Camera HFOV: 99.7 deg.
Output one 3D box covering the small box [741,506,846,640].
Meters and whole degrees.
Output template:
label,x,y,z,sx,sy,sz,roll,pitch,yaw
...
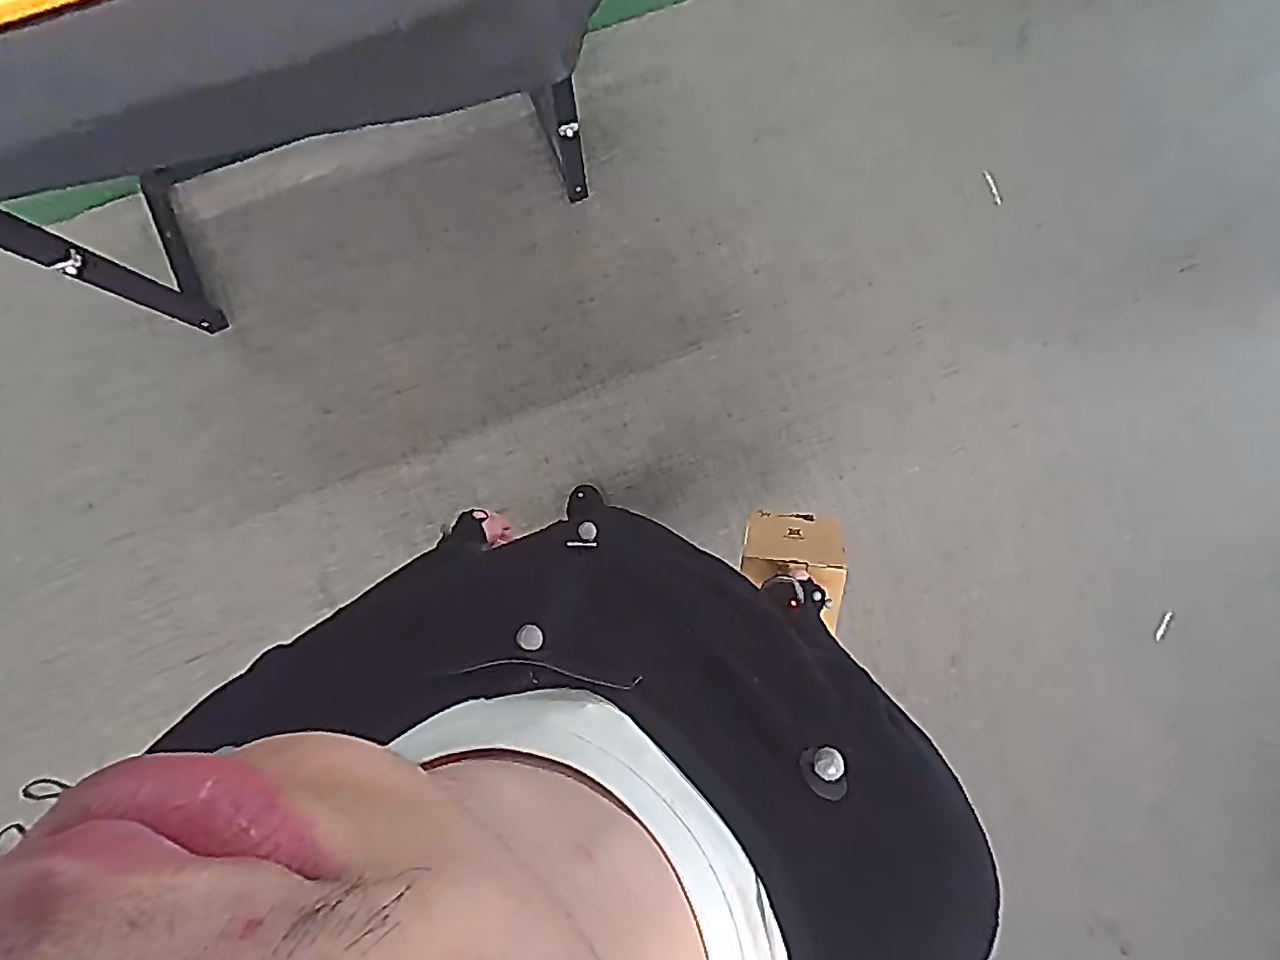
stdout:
label,x,y,z,sx,sy,sz,roll,pitch,yaw
small box,0.271,0.165,0.977,0.168,0.179,0.176,3,117,12
